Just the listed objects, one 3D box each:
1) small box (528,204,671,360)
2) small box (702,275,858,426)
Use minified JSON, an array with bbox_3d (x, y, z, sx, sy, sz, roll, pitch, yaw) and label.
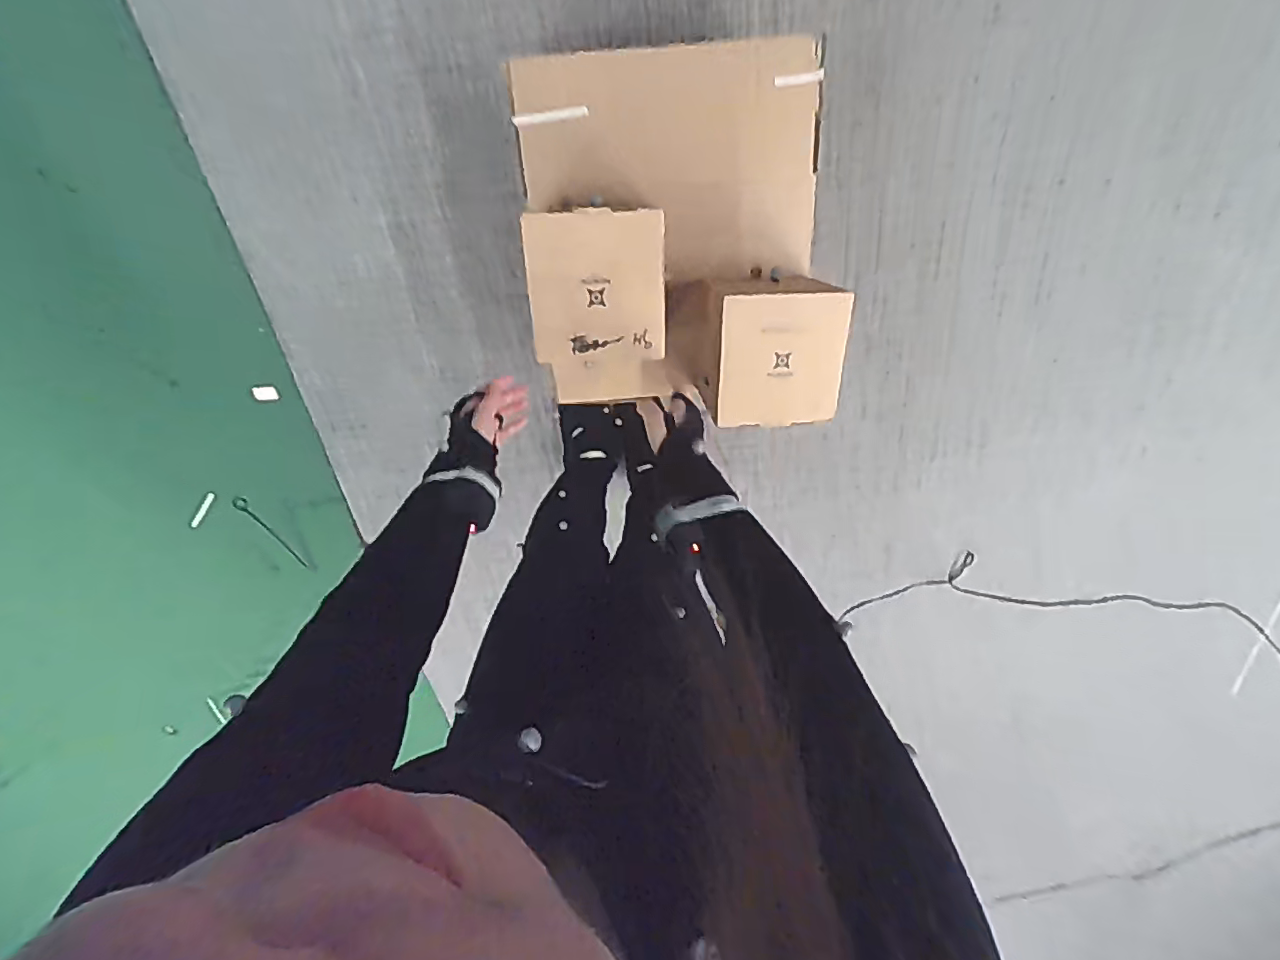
[{"bbox_3d":[-0.048,-0.266,0.720,0.168,0.176,0.179,-1,116,0],"label":"small box"},{"bbox_3d":[0.183,-0.189,0.768,0.168,0.176,0.179,-2,117,-3],"label":"small box"}]
